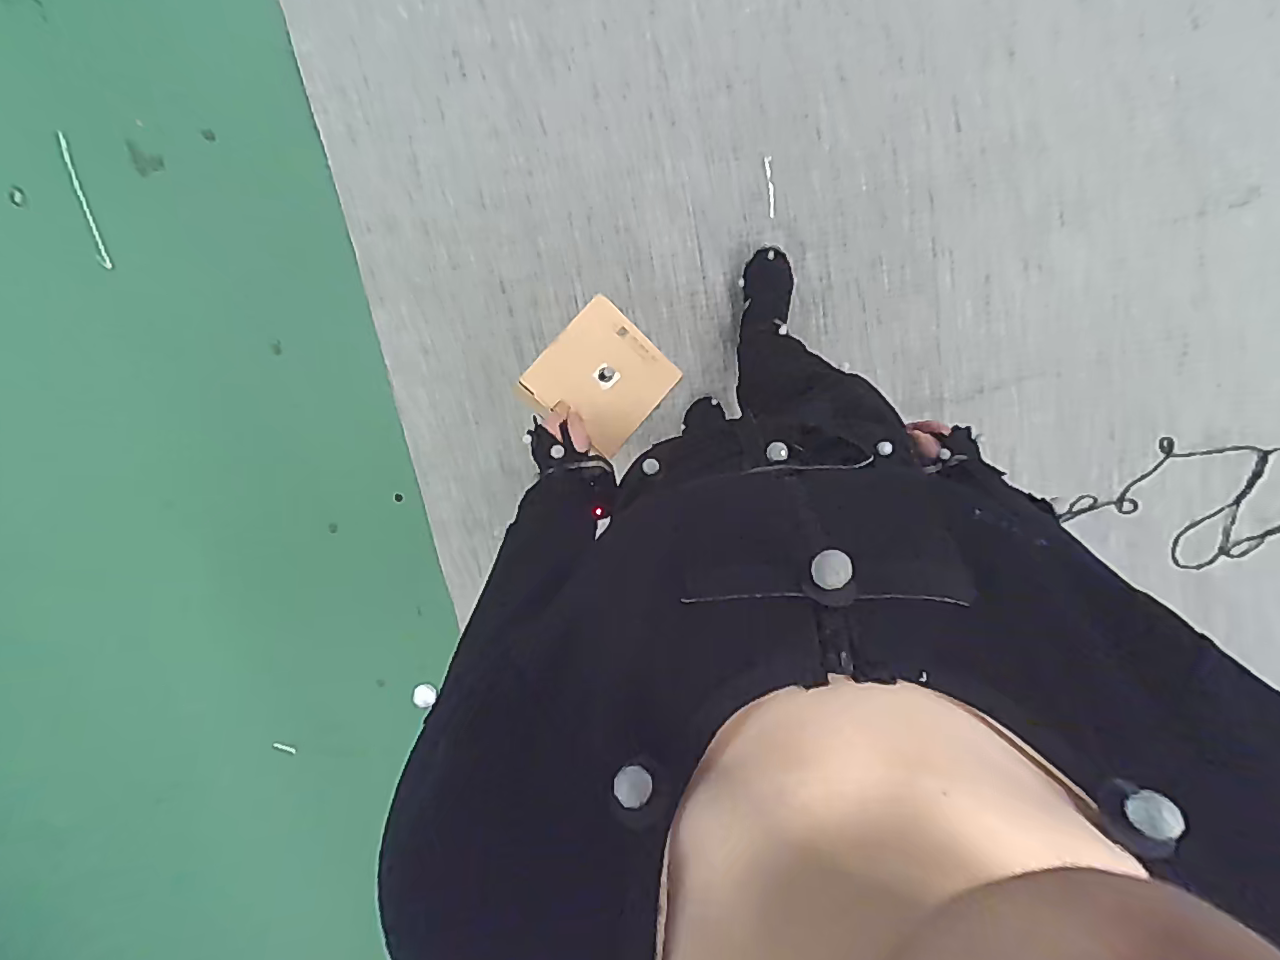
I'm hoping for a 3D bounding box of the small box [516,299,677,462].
[{"bbox_3d":[-0.067,-0.144,0.823,0.168,0.179,0.176,42,80,-12],"label":"small box"}]
